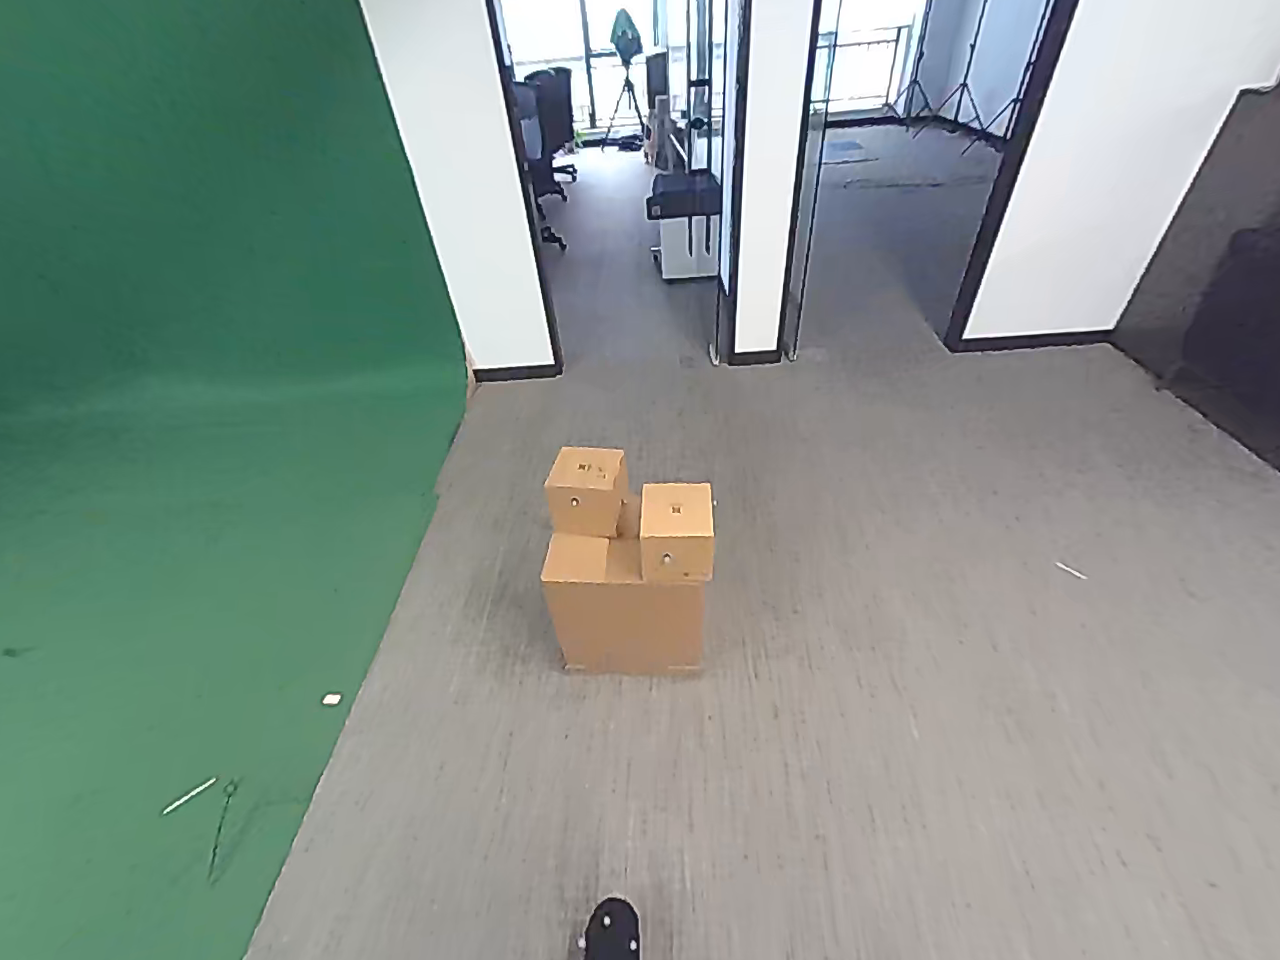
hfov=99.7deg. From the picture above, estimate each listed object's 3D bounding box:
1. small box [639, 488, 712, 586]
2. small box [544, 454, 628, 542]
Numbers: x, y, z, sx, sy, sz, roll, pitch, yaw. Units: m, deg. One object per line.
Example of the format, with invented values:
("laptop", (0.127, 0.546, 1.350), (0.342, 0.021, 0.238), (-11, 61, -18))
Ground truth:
("small box", (0.088, 0.140, 1.307), (0.168, 0.176, 0.179), (-1, 41, 4))
("small box", (-0.137, 0.048, 1.439), (0.179, 0.176, 0.168), (4, 41, 10))
